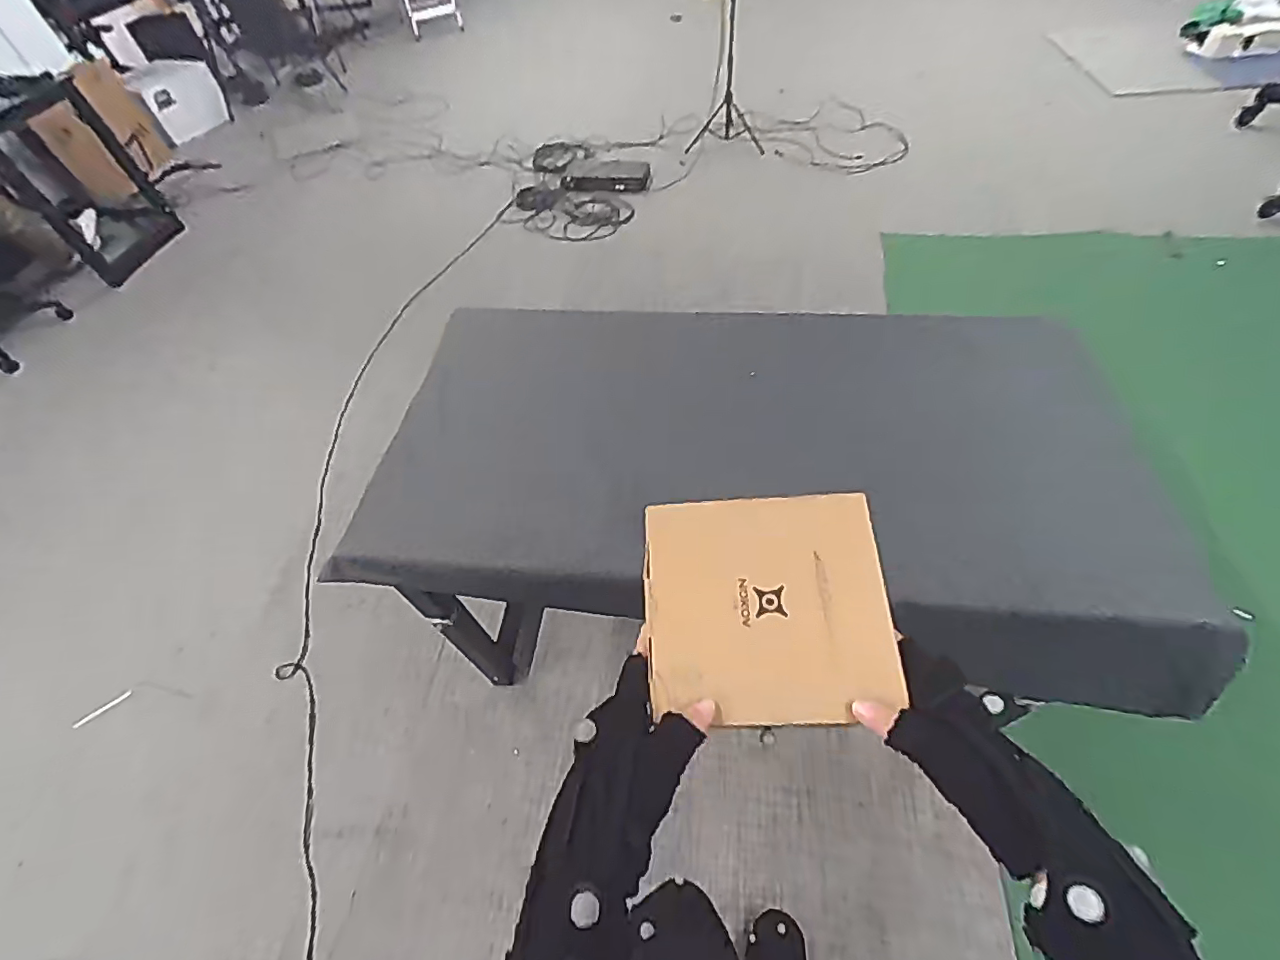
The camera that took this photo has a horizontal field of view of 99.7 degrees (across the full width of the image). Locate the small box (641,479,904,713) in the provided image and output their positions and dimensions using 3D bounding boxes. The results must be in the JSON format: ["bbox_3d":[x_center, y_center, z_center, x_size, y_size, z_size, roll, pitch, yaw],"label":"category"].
[{"bbox_3d":[0.100,0.112,0.477,0.179,0.176,0.168,-5,66,4],"label":"small box"}]
